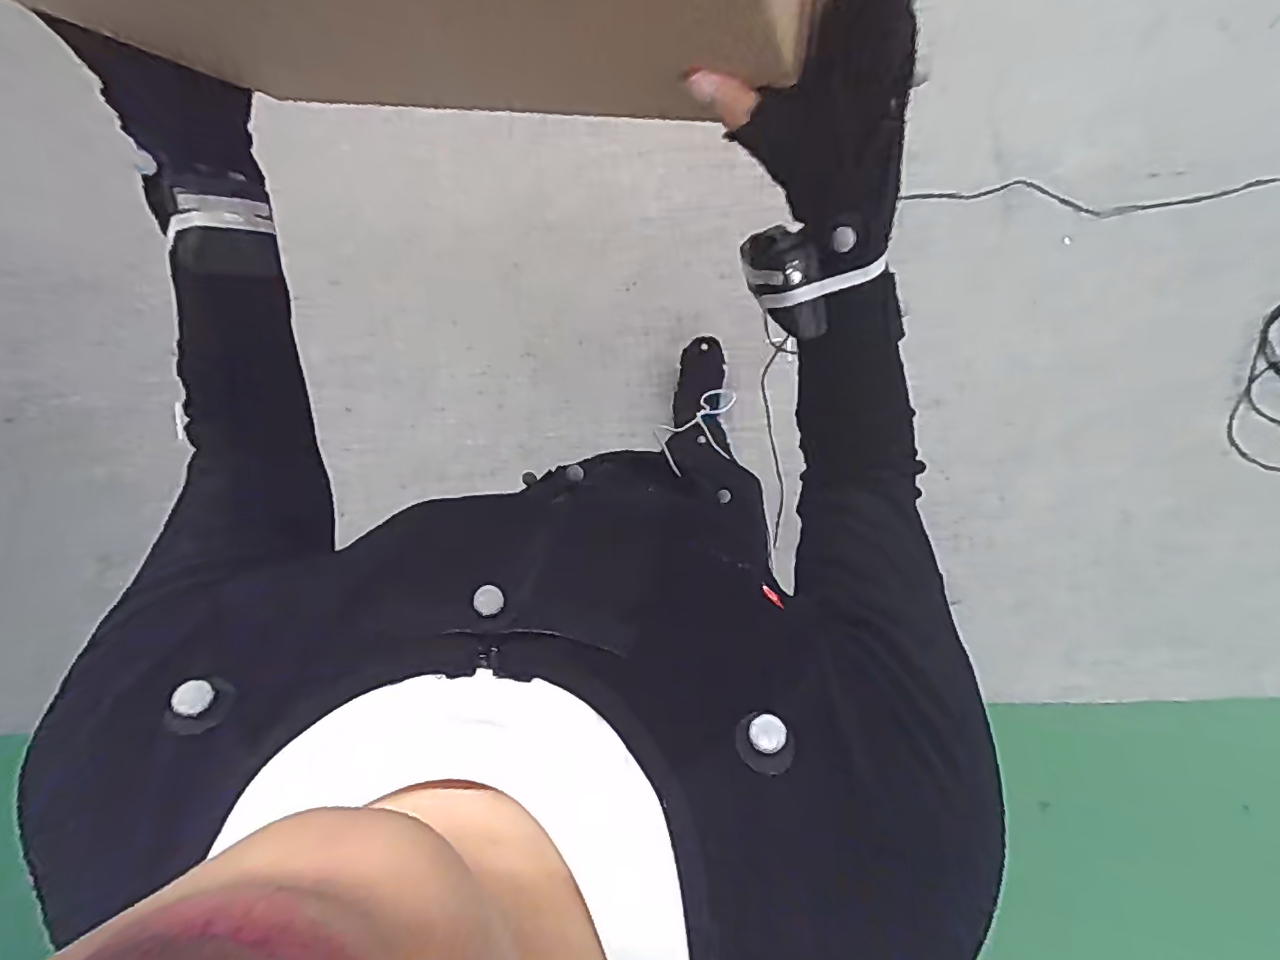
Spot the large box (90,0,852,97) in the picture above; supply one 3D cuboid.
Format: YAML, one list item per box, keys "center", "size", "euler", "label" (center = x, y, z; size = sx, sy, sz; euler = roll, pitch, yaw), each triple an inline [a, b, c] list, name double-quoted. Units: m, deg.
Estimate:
- center: [-0.108, -0.356, 0.172]
  size: [0.408, 0.320, 0.320]
  euler: [14, 110, 16]
  label: "large box"
